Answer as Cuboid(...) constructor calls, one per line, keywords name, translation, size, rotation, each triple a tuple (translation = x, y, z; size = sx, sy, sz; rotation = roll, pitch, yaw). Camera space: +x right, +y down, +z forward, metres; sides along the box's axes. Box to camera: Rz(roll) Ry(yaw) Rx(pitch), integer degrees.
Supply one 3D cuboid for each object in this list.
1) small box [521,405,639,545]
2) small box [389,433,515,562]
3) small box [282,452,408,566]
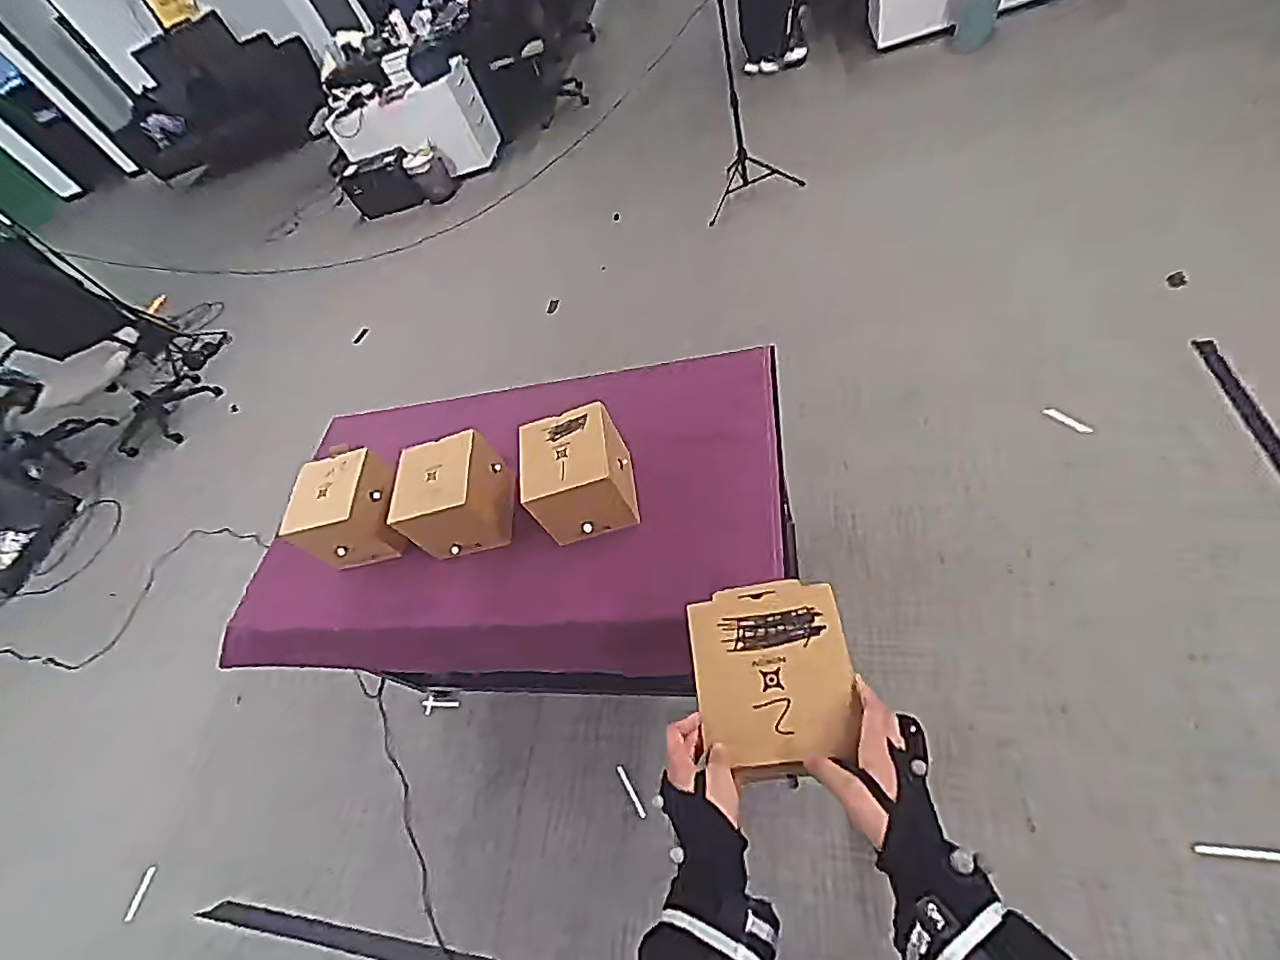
Cuboid(name="small box", translation=(-0.110, -0.004, 1.012), size=(0.168, 0.176, 0.179), rotation=(-17, 54, 10))
Cuboid(name="small box", translation=(-0.364, 0.039, 1.082), size=(0.168, 0.176, 0.179), rotation=(-14, 53, 12))
Cuboid(name="small box", translation=(-0.605, 0.071, 1.150), size=(0.168, 0.176, 0.179), rotation=(-13, 53, 12))
